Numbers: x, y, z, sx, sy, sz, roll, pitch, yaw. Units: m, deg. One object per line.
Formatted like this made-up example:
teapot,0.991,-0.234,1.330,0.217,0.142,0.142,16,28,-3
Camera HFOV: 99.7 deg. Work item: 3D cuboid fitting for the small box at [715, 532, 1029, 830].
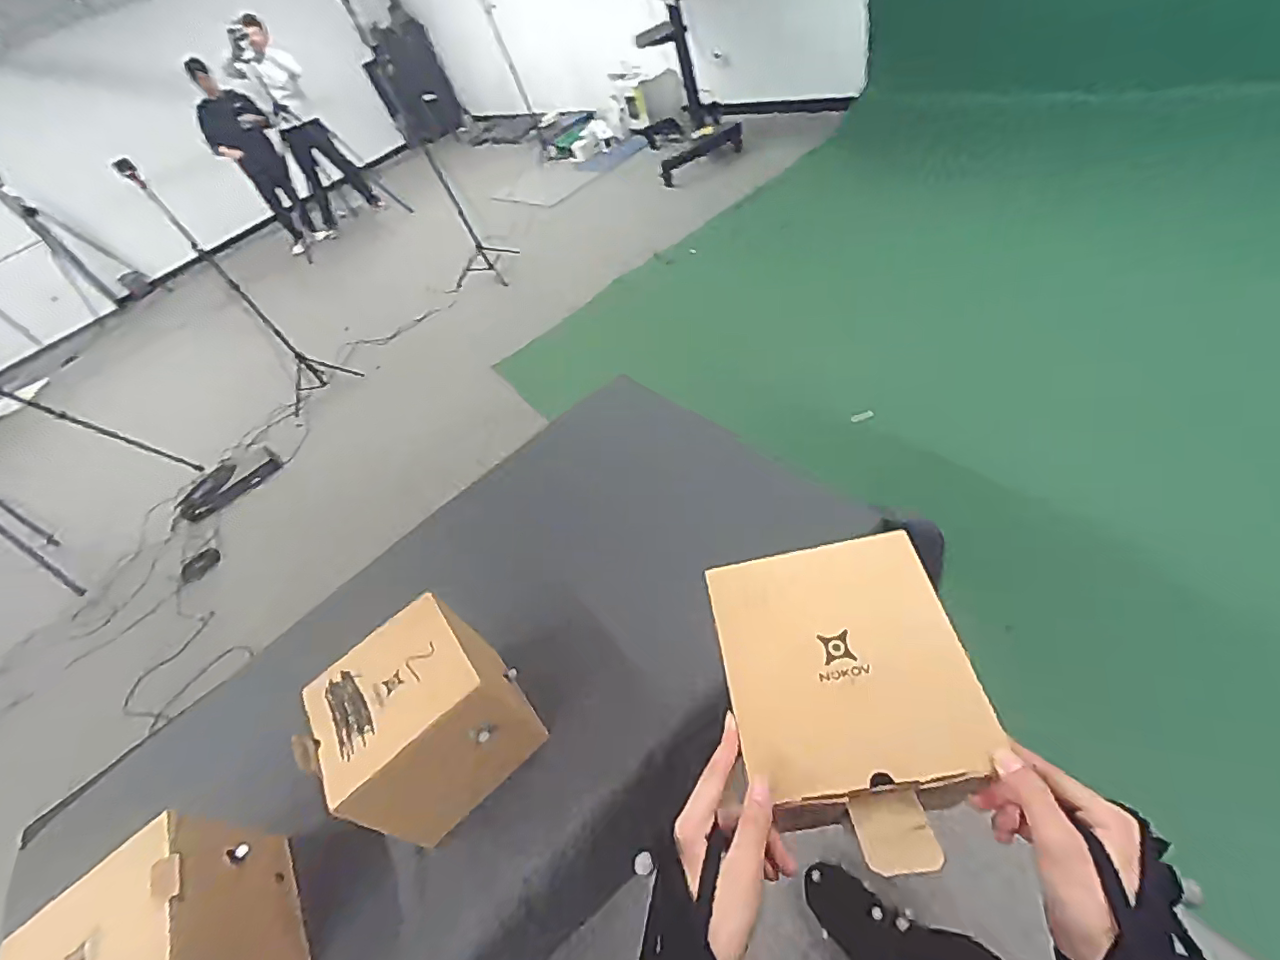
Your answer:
small box,0.162,0.171,0.446,0.168,0.176,0.179,-12,53,6

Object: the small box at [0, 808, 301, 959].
small box,-0.477,0.480,0.543,0.179,0.176,0.168,-42,45,-15
